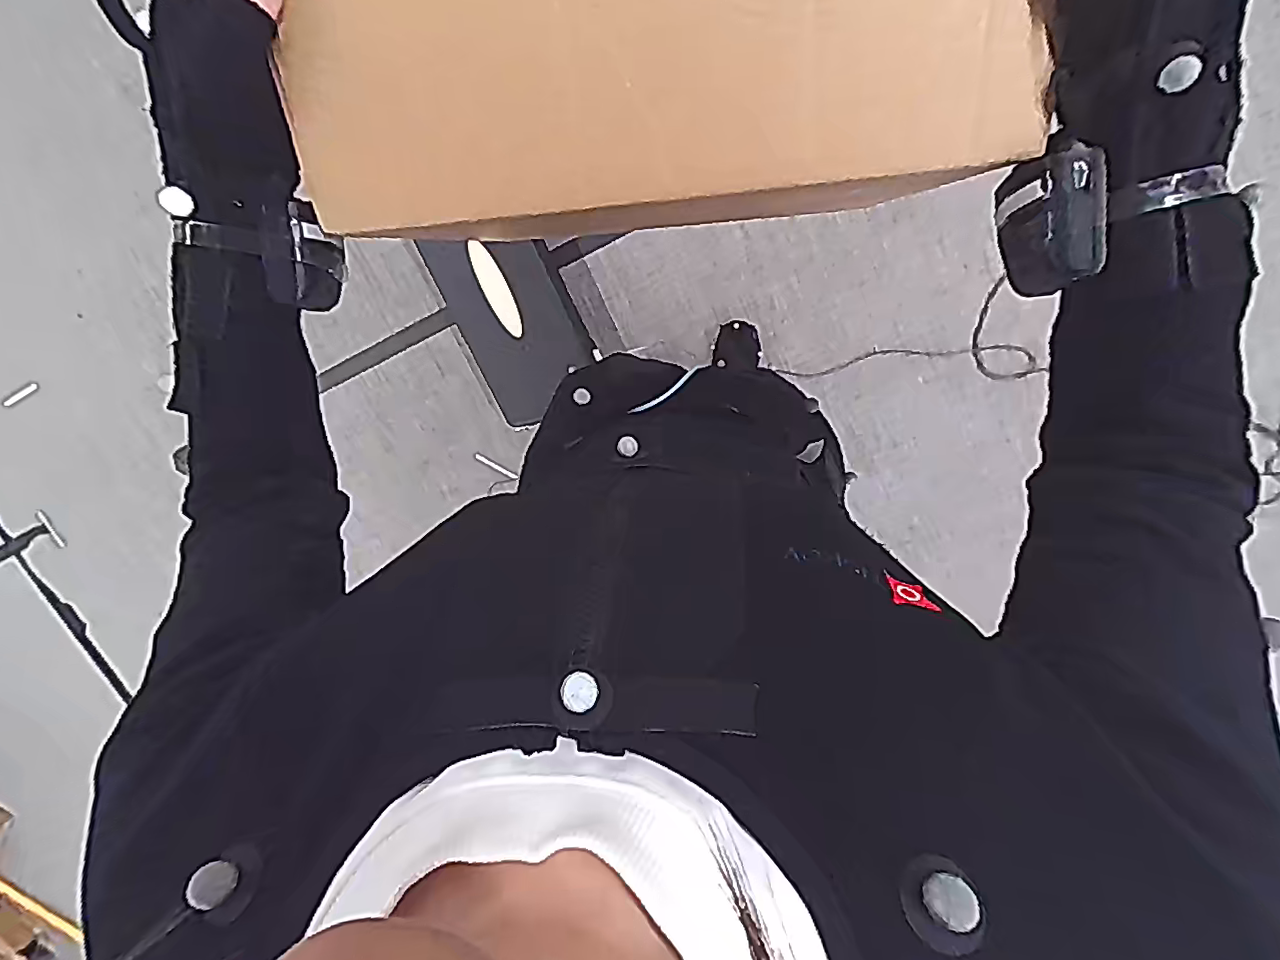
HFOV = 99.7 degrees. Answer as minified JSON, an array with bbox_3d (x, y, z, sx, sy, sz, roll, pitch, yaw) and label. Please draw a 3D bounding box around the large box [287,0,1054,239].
[{"bbox_3d":[0.013,-0.369,0.393,0.408,0.320,0.320,-3,113,8],"label":"large box"}]
